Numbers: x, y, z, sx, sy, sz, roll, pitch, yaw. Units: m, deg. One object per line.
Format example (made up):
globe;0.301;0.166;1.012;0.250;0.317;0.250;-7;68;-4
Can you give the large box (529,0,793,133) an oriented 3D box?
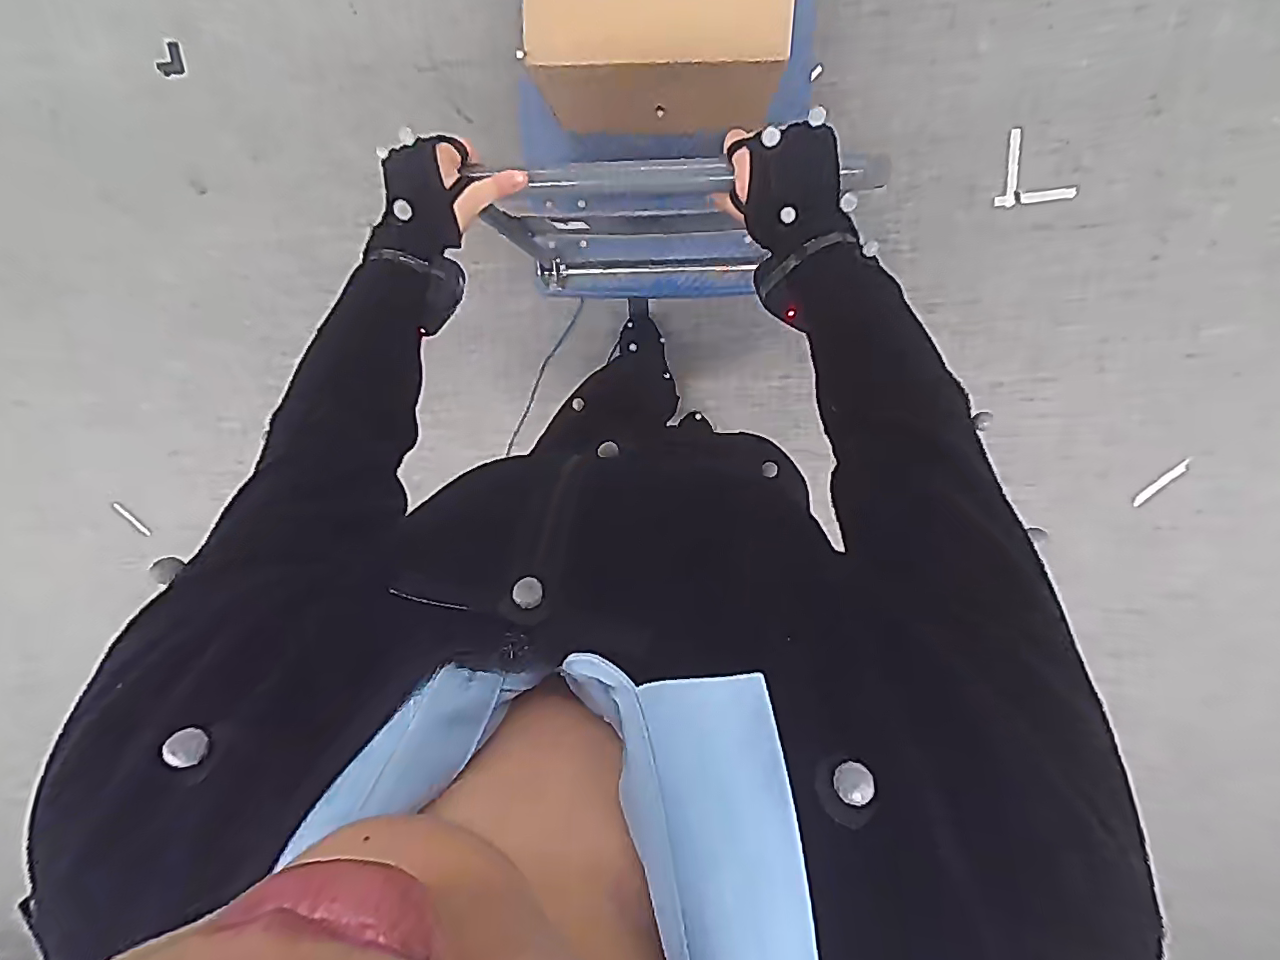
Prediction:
large box;0.043;-0.827;0.935;0.408;0.320;0.320;2;105;5
